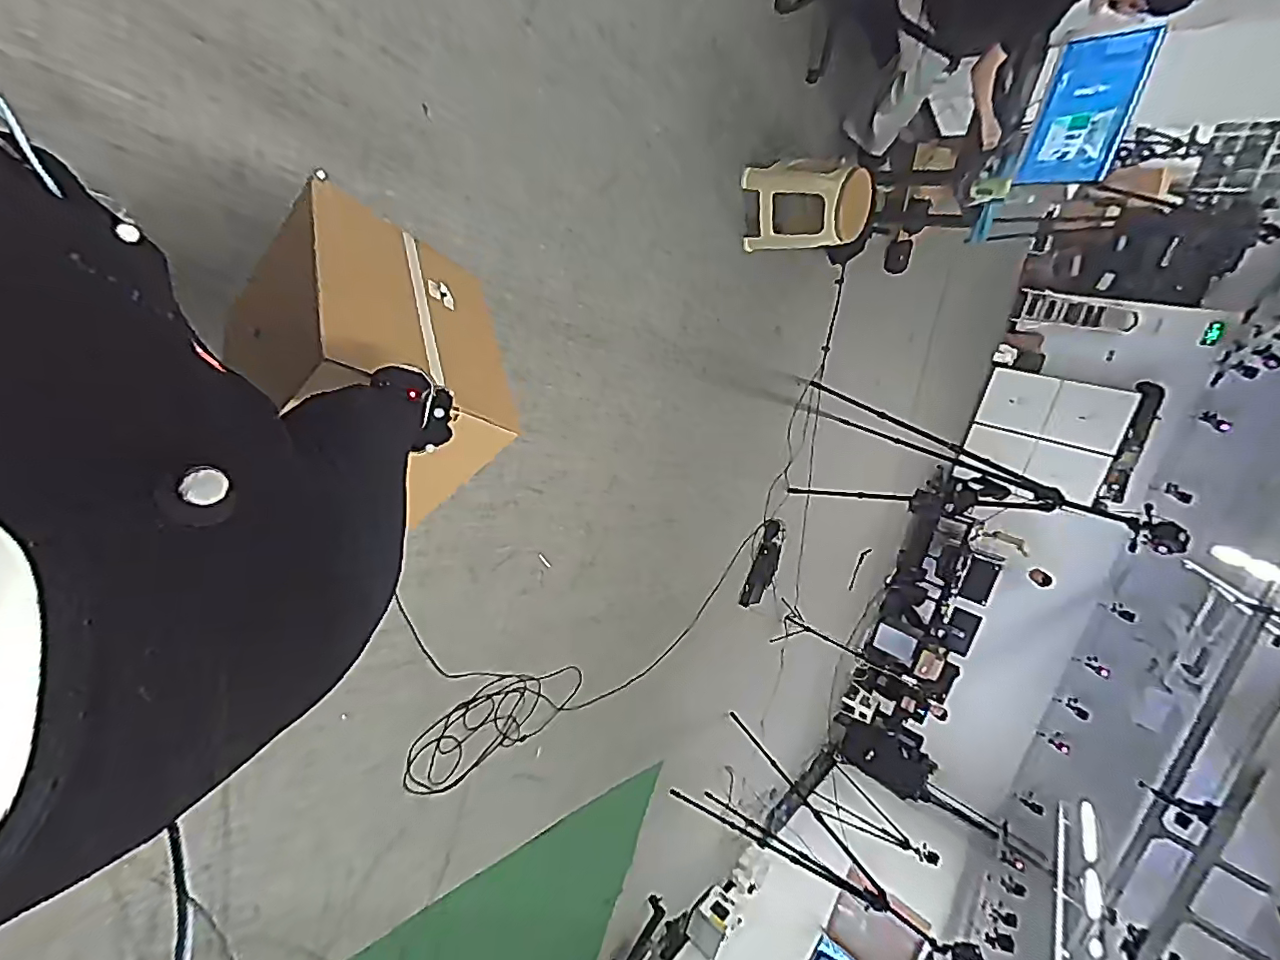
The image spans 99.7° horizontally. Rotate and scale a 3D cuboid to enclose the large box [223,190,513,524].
[{"bbox_3d":[-0.474,-0.183,0.930,0.320,0.408,0.320,-37,148,23],"label":"large box"}]
